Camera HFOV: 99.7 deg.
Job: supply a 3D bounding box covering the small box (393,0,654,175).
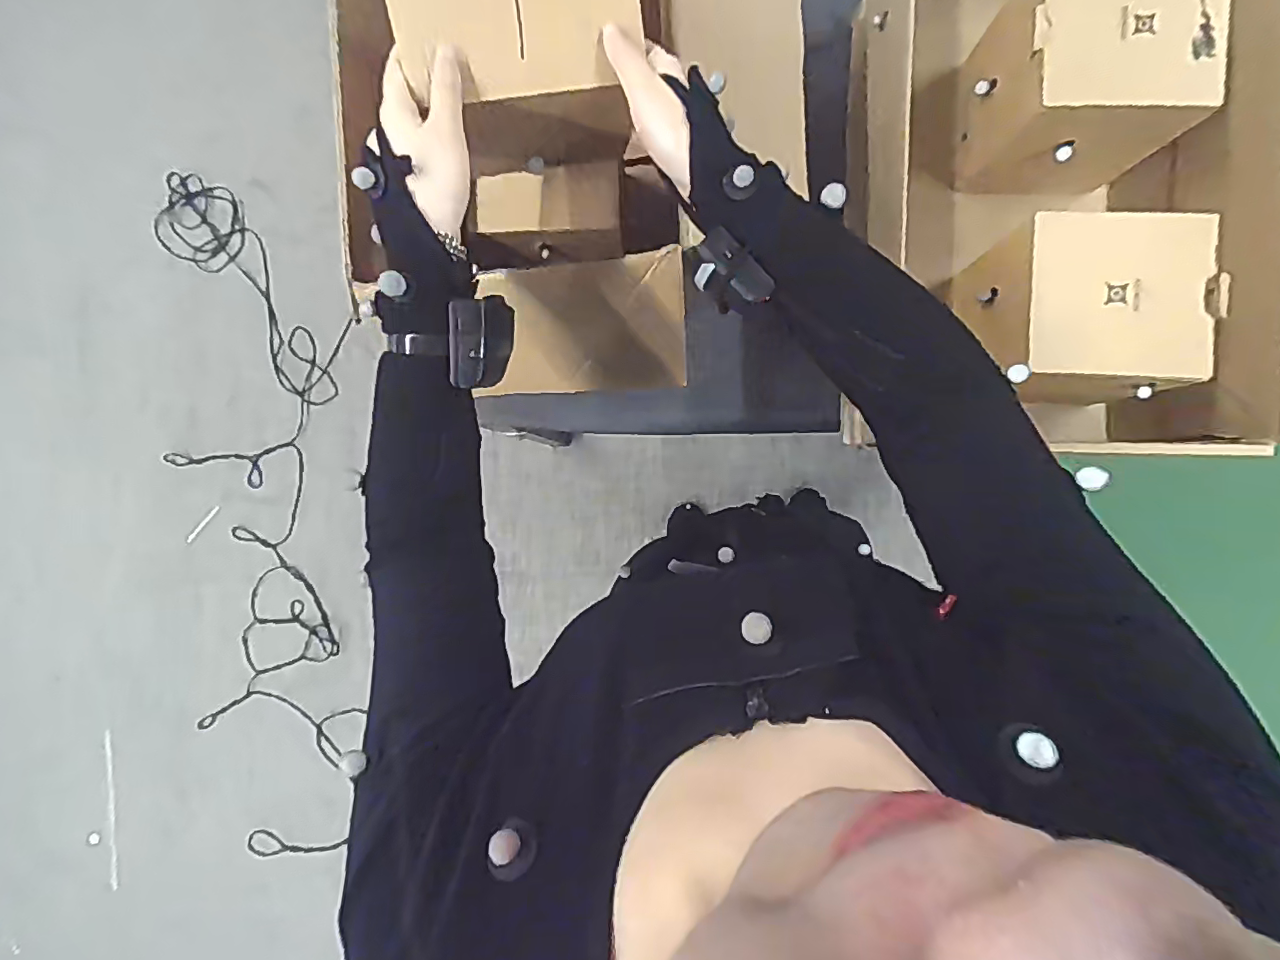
[{"bbox_3d":[-0.094,-0.365,0.420,0.168,0.176,0.179,-11,107,-5],"label":"small box"}]
